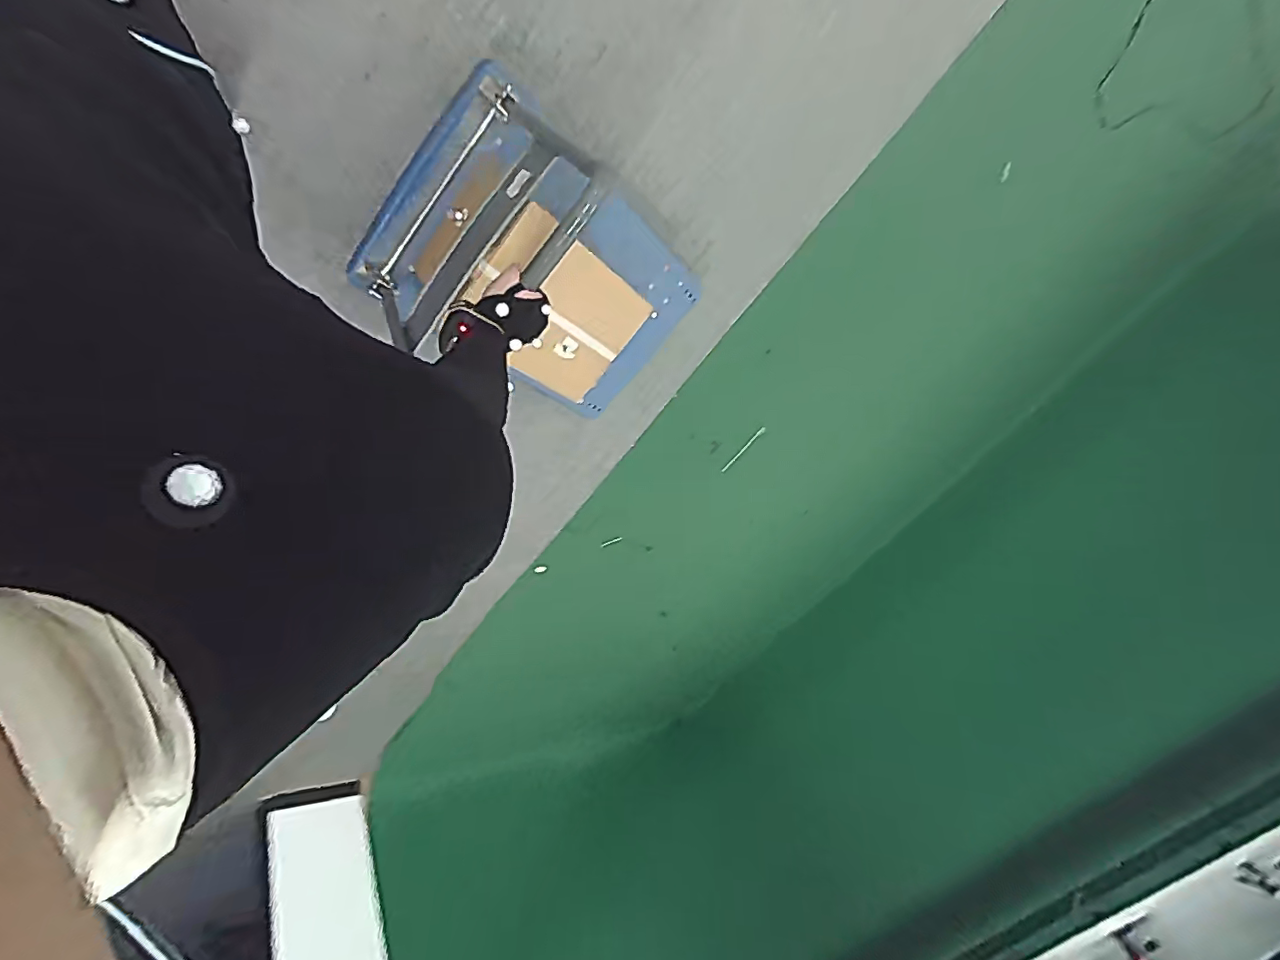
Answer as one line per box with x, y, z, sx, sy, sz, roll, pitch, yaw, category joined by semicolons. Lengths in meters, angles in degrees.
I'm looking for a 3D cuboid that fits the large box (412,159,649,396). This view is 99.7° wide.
-0.263;-0.470;1.303;0.320;0.320;0.408;-47;141;15;large box
